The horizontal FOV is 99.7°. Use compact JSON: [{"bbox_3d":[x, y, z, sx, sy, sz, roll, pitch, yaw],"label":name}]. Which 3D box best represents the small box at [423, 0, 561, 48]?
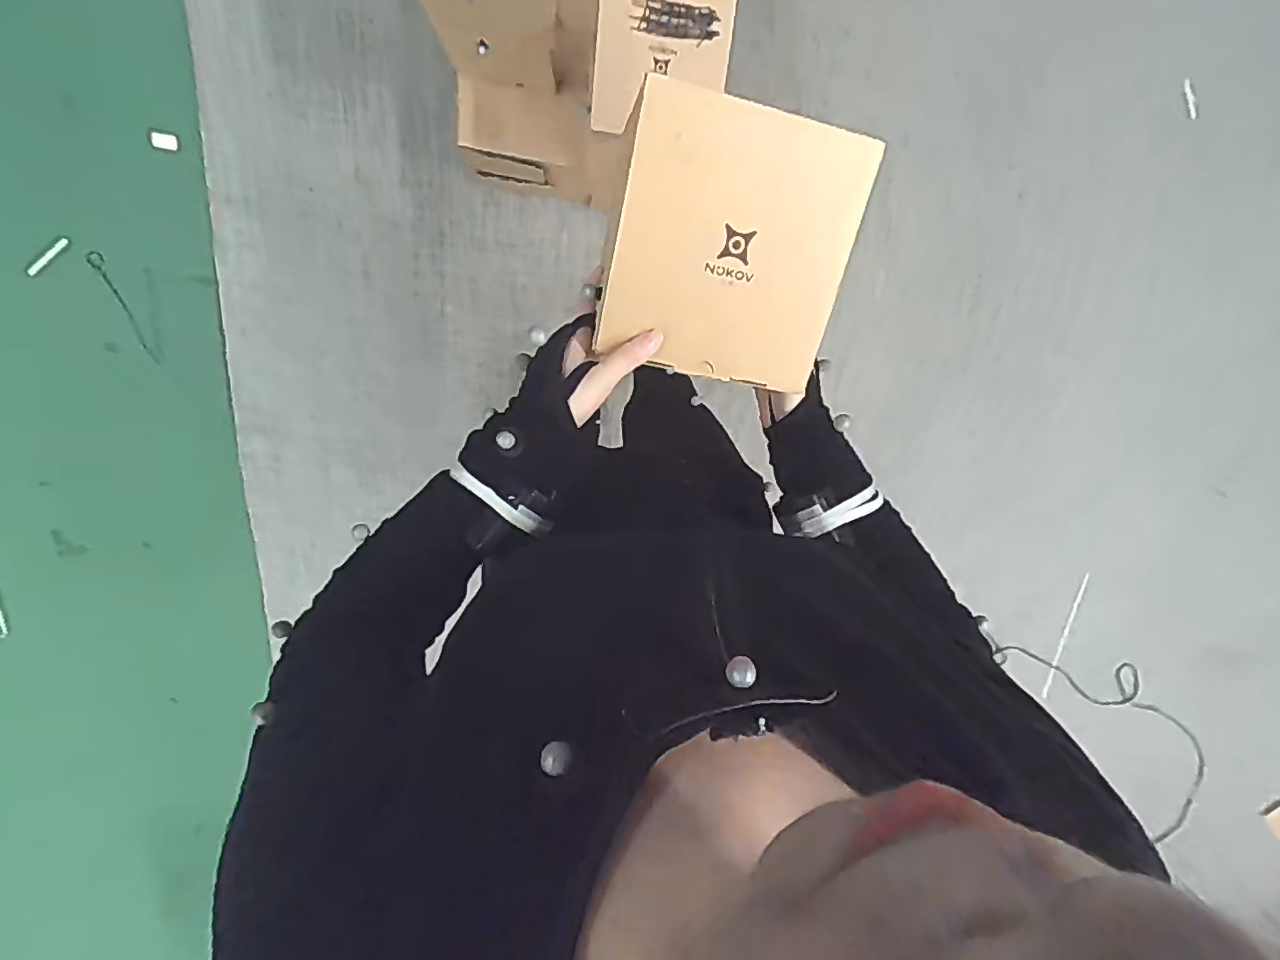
[{"bbox_3d":[-0.190,-0.677,0.669,0.179,0.176,0.168,5,106,-6],"label":"small box"}]

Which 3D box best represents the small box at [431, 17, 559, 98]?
[{"bbox_3d":[-0.212,-0.728,0.826,0.168,0.176,0.179,5,105,-7],"label":"small box"}]

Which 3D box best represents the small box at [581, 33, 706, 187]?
[{"bbox_3d":[-0.004,-0.588,0.892,0.179,0.176,0.168,4,106,-8],"label":"small box"}]

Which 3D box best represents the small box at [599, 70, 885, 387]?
[{"bbox_3d":[0.060,-0.193,0.448,0.168,0.176,0.179,8,113,-10],"label":"small box"}]
